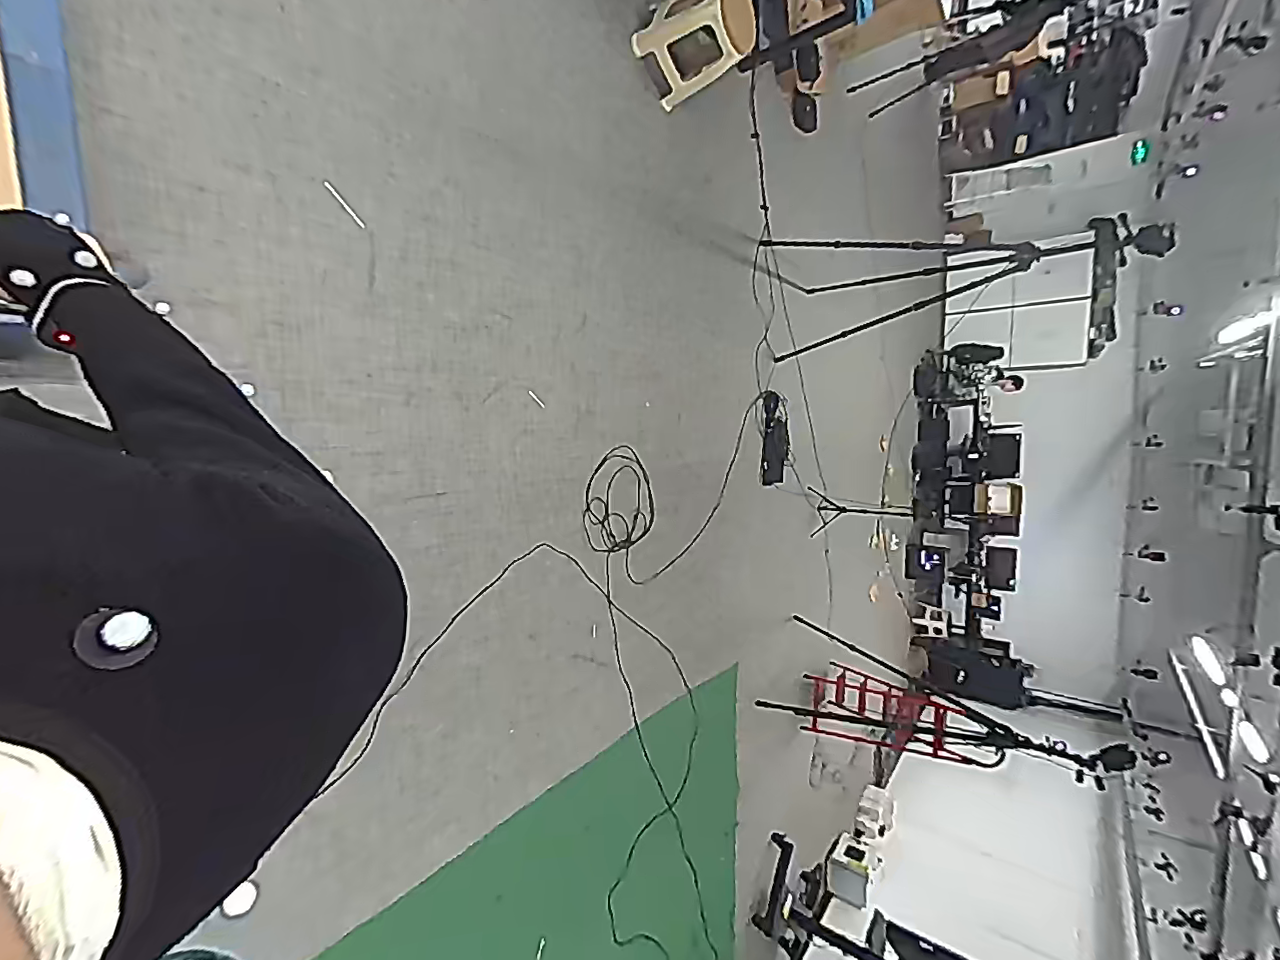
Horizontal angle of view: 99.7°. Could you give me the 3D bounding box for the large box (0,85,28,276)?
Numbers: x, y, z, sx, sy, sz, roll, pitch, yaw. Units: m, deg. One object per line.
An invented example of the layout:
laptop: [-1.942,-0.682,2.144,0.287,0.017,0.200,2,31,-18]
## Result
large box: [-1.119,-0.535,0.743,0.320,0.320,0.408,-11,100,-51]
